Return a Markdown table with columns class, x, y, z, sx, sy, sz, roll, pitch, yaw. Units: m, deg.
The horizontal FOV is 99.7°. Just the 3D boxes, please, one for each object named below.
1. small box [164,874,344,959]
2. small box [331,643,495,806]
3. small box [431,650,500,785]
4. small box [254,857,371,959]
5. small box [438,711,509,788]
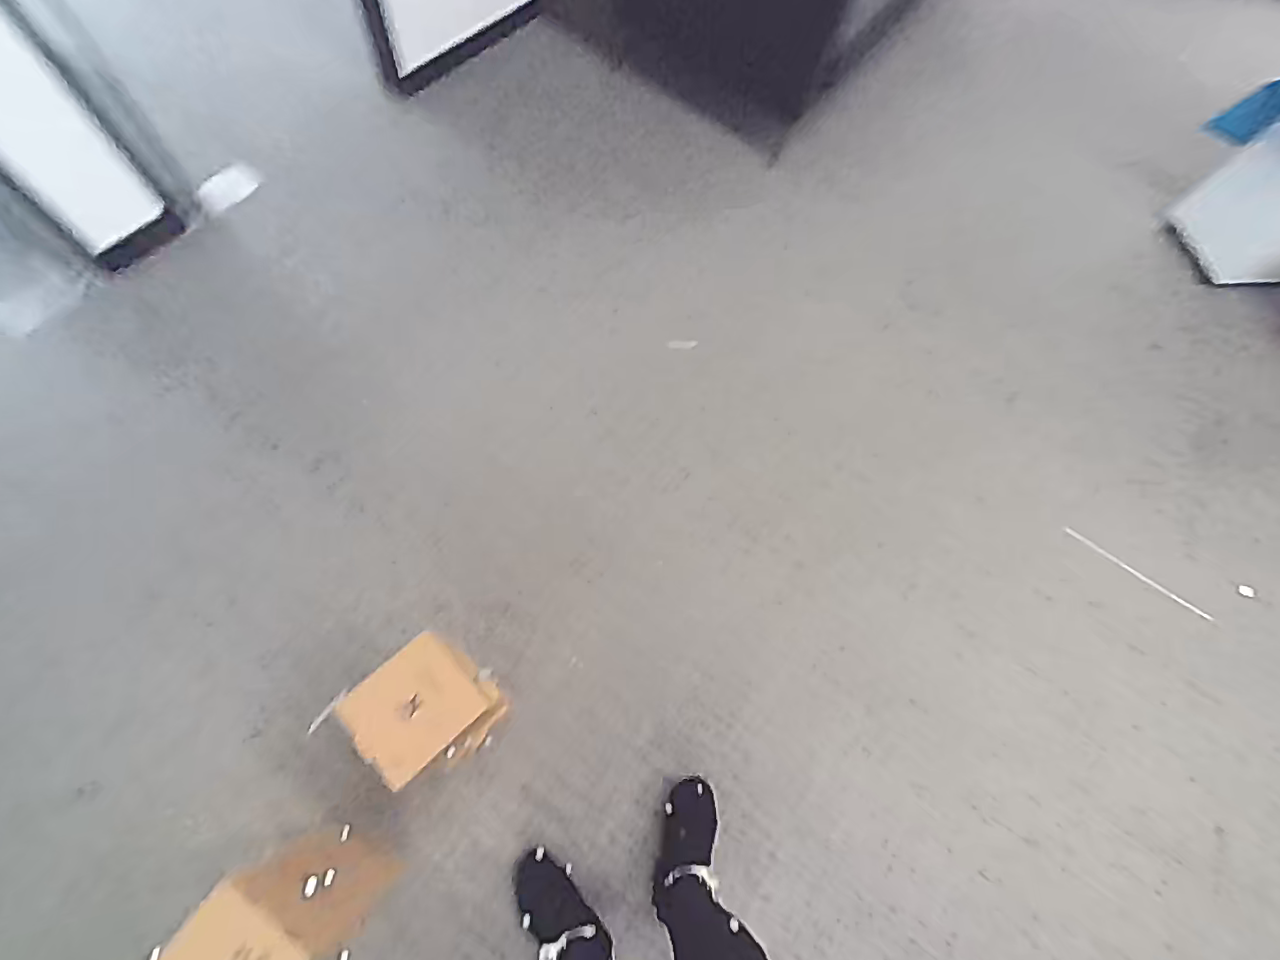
| class | x | y | z | sx | sy | sz | roll | pitch | yaw |
| --- | --- | --- | --- | --- | --- | --- | --- | --- | --- |
| small box | -0.556 | 0.699 | 0.749 | 0.168 | 0.176 | 0.179 | 34 | 65 | 9 |
| small box | -0.368 | 0.407 | 0.914 | 0.179 | 0.176 | 0.168 | -40 | 77 | -22 |
| small box | -0.393 | 0.466 | 1.063 | 0.168 | 0.176 | 0.179 | 41 | 67 | 12 |
| small box | -0.588 | 0.767 | 0.896 | 0.179 | 0.176 | 0.168 | 33 | 65 | 9 |
| small box | -0.411 | 0.546 | 1.205 | 0.179 | 0.176 | 0.168 | 43 | 66 | 11 |
